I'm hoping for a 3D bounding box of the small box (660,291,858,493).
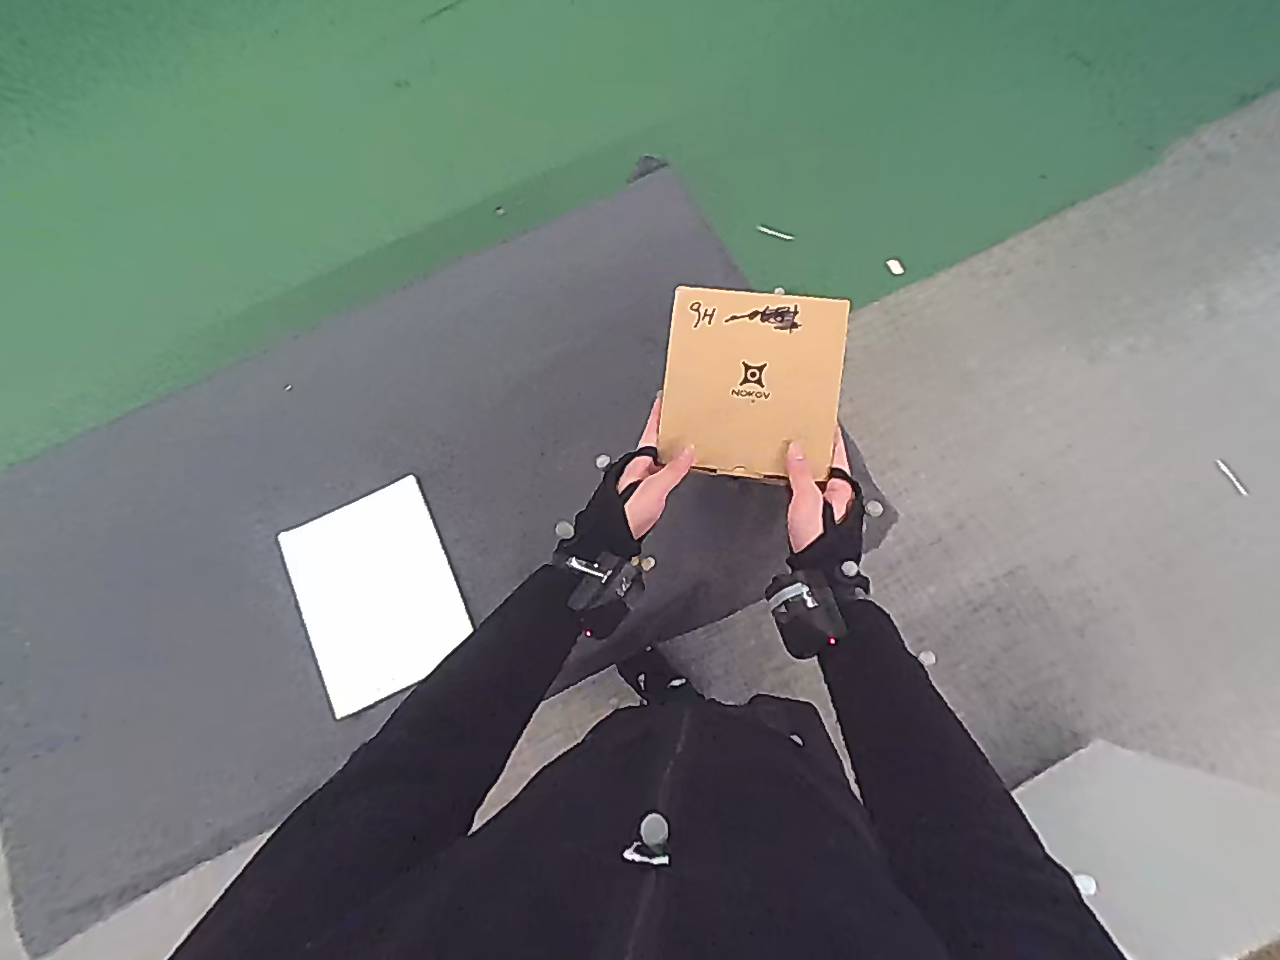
[{"bbox_3d":[0.119,-0.087,0.593,0.168,0.176,0.179,8,92,5],"label":"small box"}]
